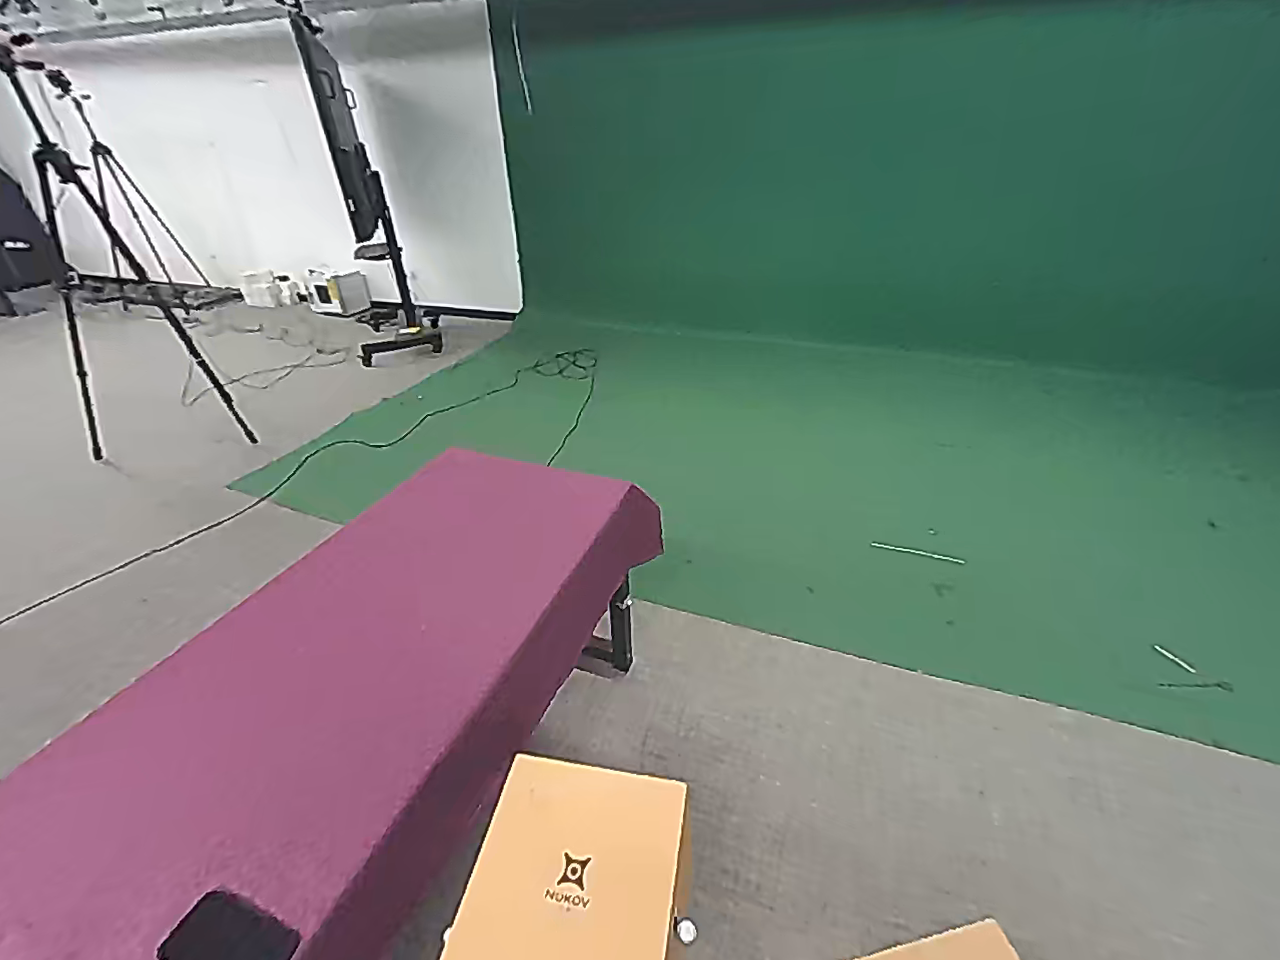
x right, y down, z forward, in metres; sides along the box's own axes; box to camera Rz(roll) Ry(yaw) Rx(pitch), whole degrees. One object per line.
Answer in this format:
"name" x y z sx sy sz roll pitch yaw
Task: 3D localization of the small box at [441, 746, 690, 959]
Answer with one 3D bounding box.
"small box" -0.048 0.380 0.493 0.168 0.176 0.179 4 40 12
